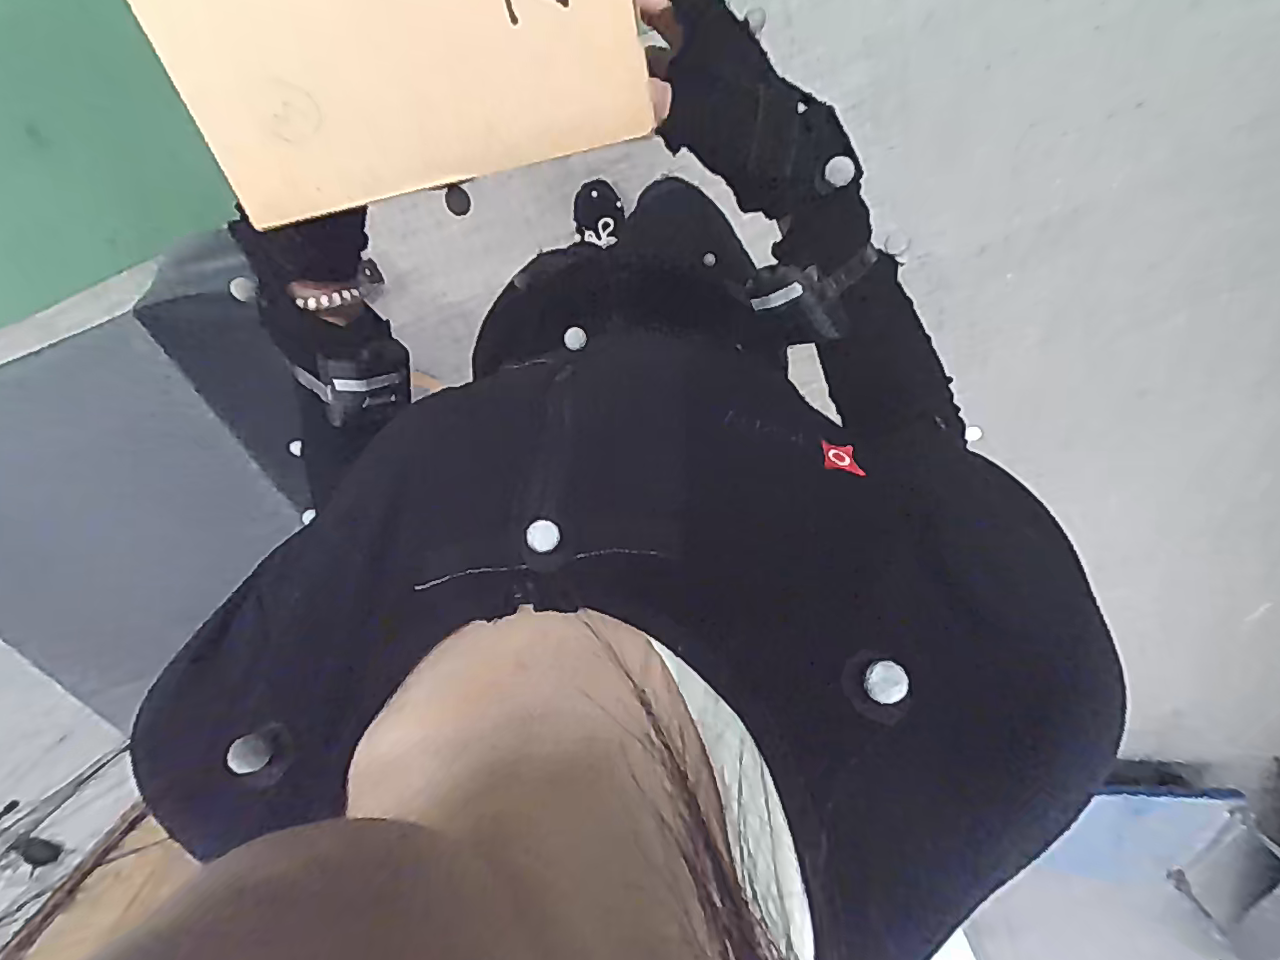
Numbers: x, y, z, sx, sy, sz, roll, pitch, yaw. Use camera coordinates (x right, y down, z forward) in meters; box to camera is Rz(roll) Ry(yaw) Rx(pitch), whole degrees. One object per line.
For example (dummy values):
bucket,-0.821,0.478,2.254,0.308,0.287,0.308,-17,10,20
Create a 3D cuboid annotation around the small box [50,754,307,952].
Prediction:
small box,-0.630,0.516,0.767,0.168,0.176,0.179,-20,117,10
